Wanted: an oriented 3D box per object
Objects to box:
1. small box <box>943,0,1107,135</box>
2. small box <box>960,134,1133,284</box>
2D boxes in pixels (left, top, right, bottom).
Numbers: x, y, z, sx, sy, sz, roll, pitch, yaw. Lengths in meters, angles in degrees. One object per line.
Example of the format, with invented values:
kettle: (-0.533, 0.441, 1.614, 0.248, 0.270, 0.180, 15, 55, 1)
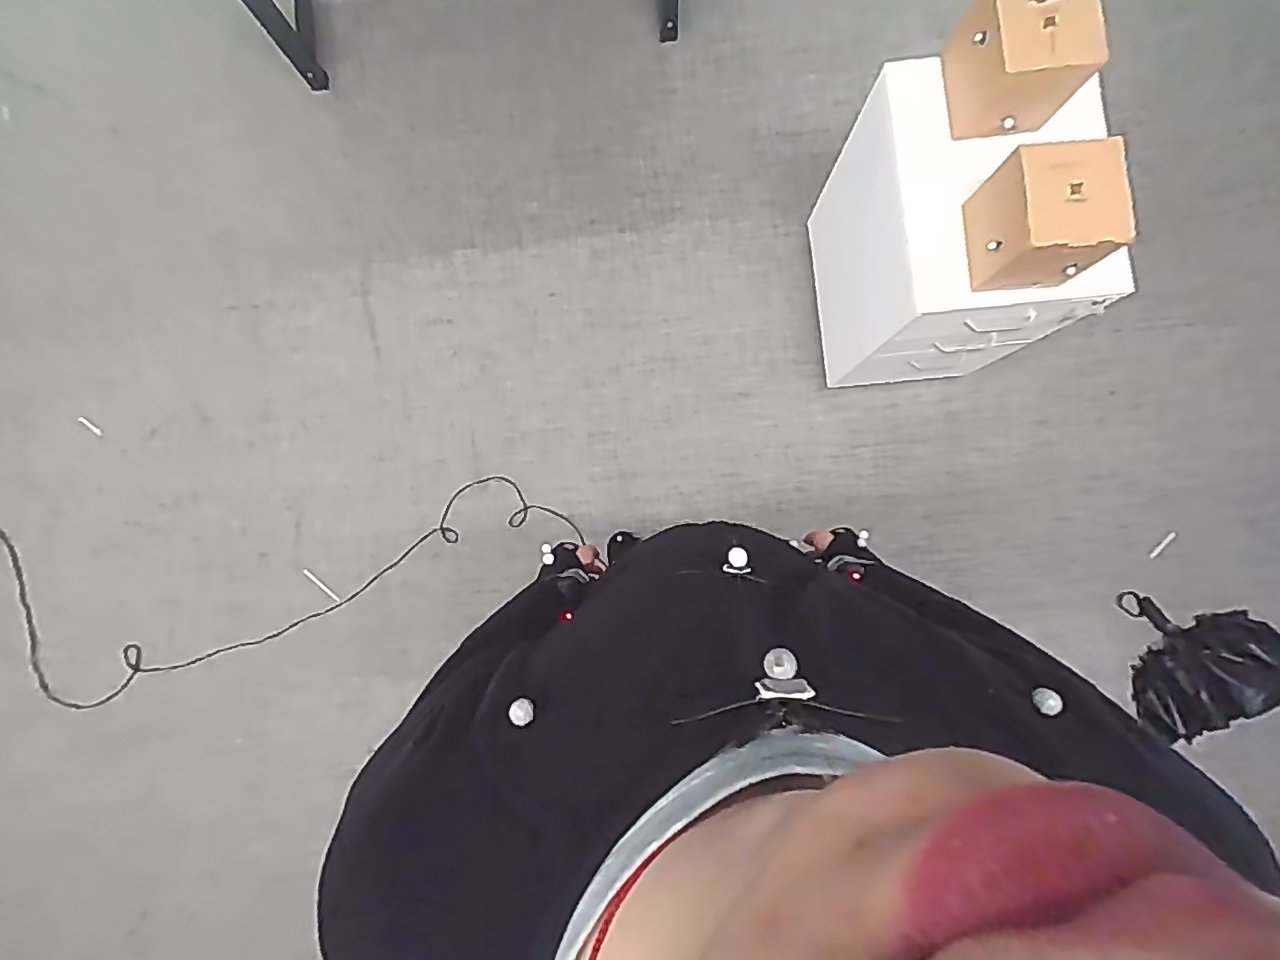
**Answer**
small box: (0.663, -0.752, 0.952, 0.168, 0.176, 0.179, -6, 88, 1)
small box: (0.687, -0.454, 0.935, 0.168, 0.176, 0.179, -4, 84, 0)
